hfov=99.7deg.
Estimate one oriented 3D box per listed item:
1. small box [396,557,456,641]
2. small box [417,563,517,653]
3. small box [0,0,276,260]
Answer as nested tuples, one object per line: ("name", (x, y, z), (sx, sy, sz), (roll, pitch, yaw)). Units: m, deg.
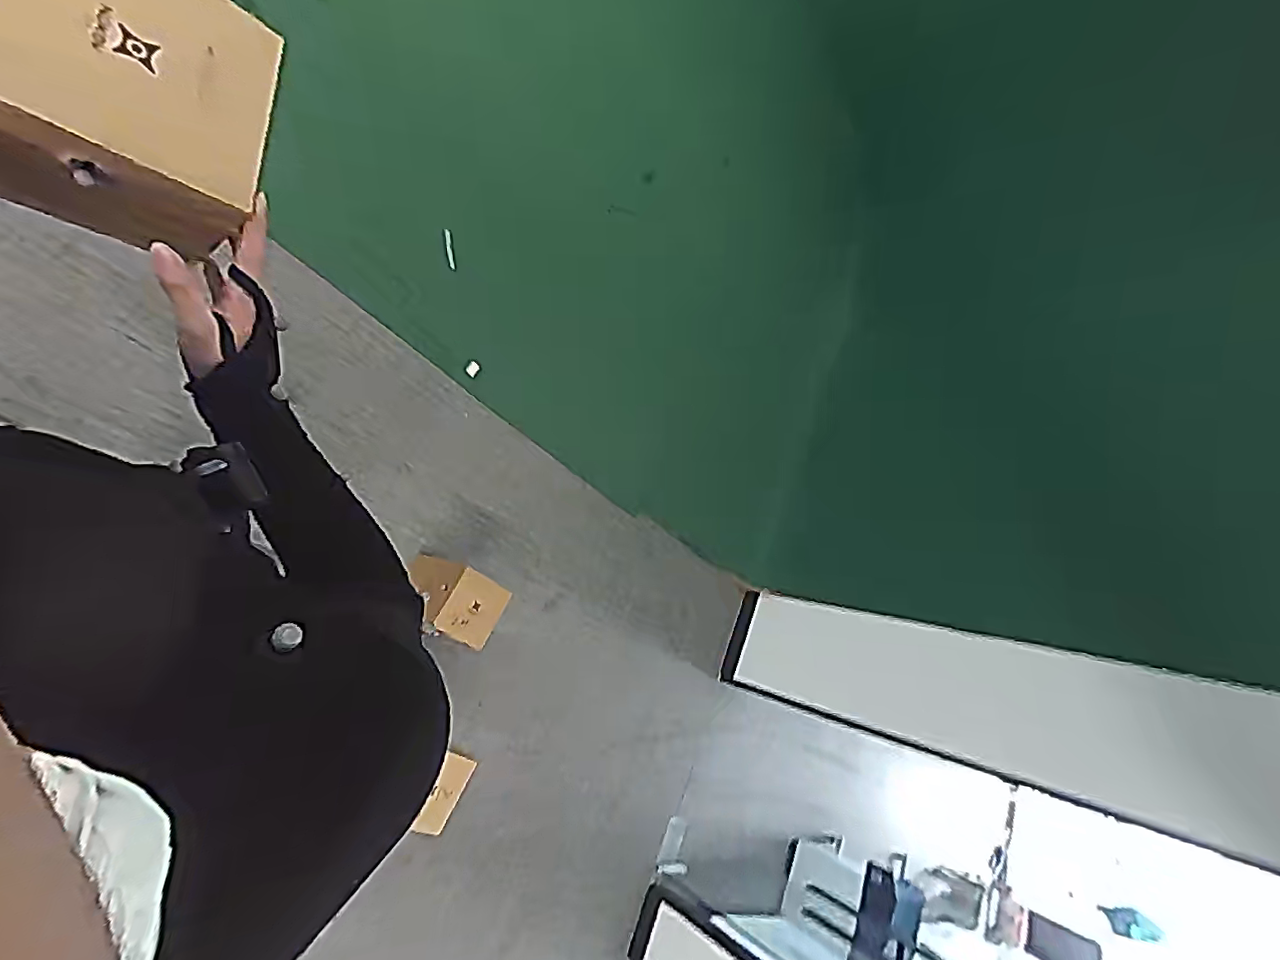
("small box", (-0.601, 0.351, 1.616), (0.168, 0.176, 0.179), (43, 63, -35))
("small box", (-0.484, 0.348, 1.499), (0.168, 0.176, 0.179), (44, 63, -34))
("small box", (-0.428, -0.302, 0.427), (0.179, 0.176, 0.168), (14, 78, -51))
